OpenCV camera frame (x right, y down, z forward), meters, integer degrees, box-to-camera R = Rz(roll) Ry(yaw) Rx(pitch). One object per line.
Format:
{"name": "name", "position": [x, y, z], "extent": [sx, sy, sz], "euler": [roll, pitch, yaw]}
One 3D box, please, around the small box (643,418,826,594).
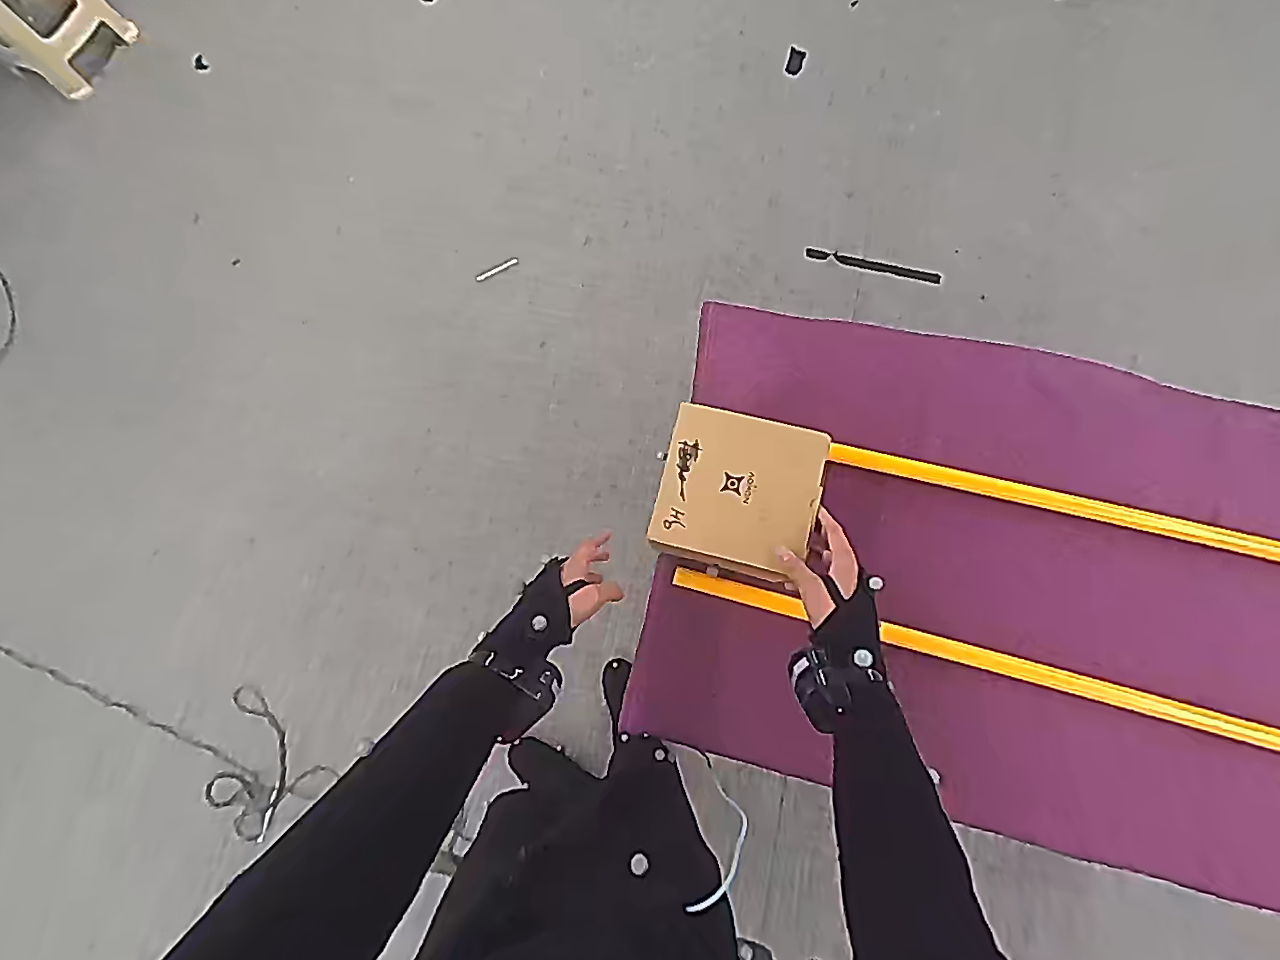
{"name": "small box", "position": [0.111, 0.040, 0.686], "extent": [0.179, 0.176, 0.168], "euler": [14, 80, 6]}
